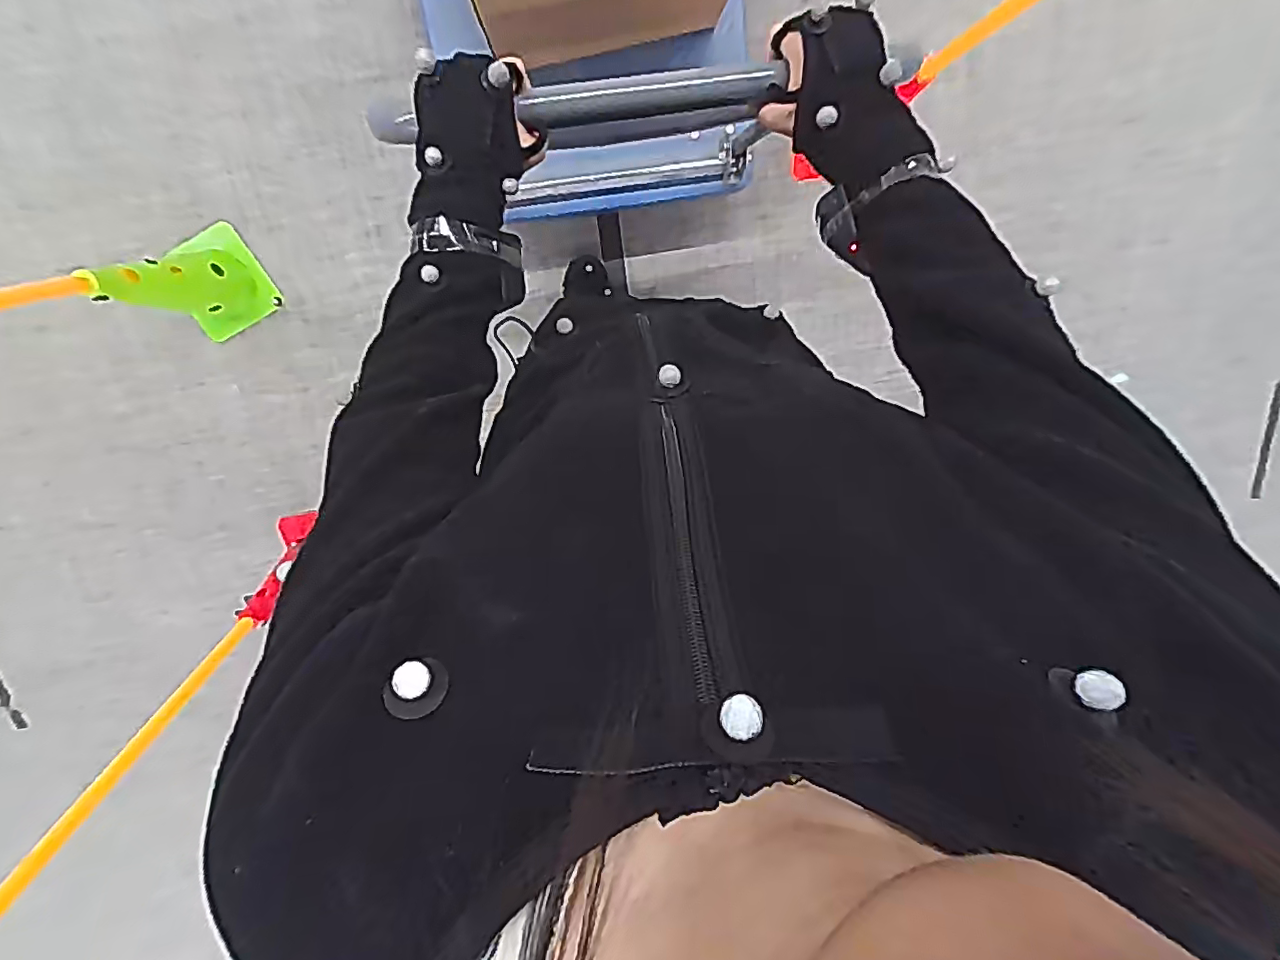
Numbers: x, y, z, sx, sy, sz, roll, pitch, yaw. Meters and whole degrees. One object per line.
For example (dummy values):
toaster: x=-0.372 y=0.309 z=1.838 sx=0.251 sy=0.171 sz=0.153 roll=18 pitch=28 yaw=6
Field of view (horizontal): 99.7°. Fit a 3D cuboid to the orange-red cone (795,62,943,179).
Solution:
orange-red cone: x=0.470 y=-0.730 z=1.057 sx=0.199 sy=0.360 sz=0.198 roll=-3 pitch=110 yaw=-5
